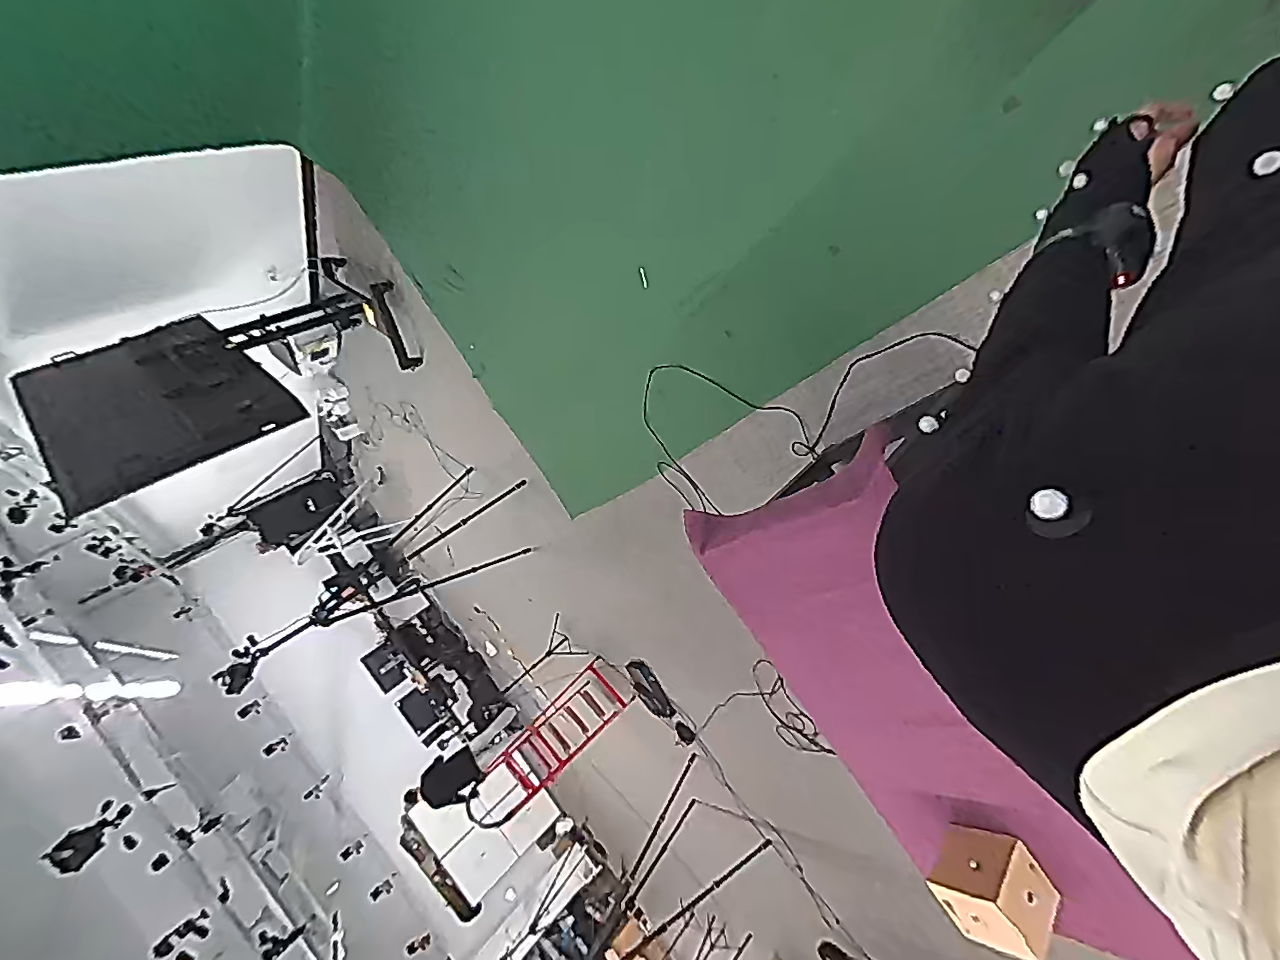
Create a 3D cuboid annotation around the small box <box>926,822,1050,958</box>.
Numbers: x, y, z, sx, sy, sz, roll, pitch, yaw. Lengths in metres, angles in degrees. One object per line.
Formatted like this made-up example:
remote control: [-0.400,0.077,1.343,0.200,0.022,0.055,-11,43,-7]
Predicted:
small box: [0.818,0.941,1.263,0.168,0.176,0.179,55,145,1]
